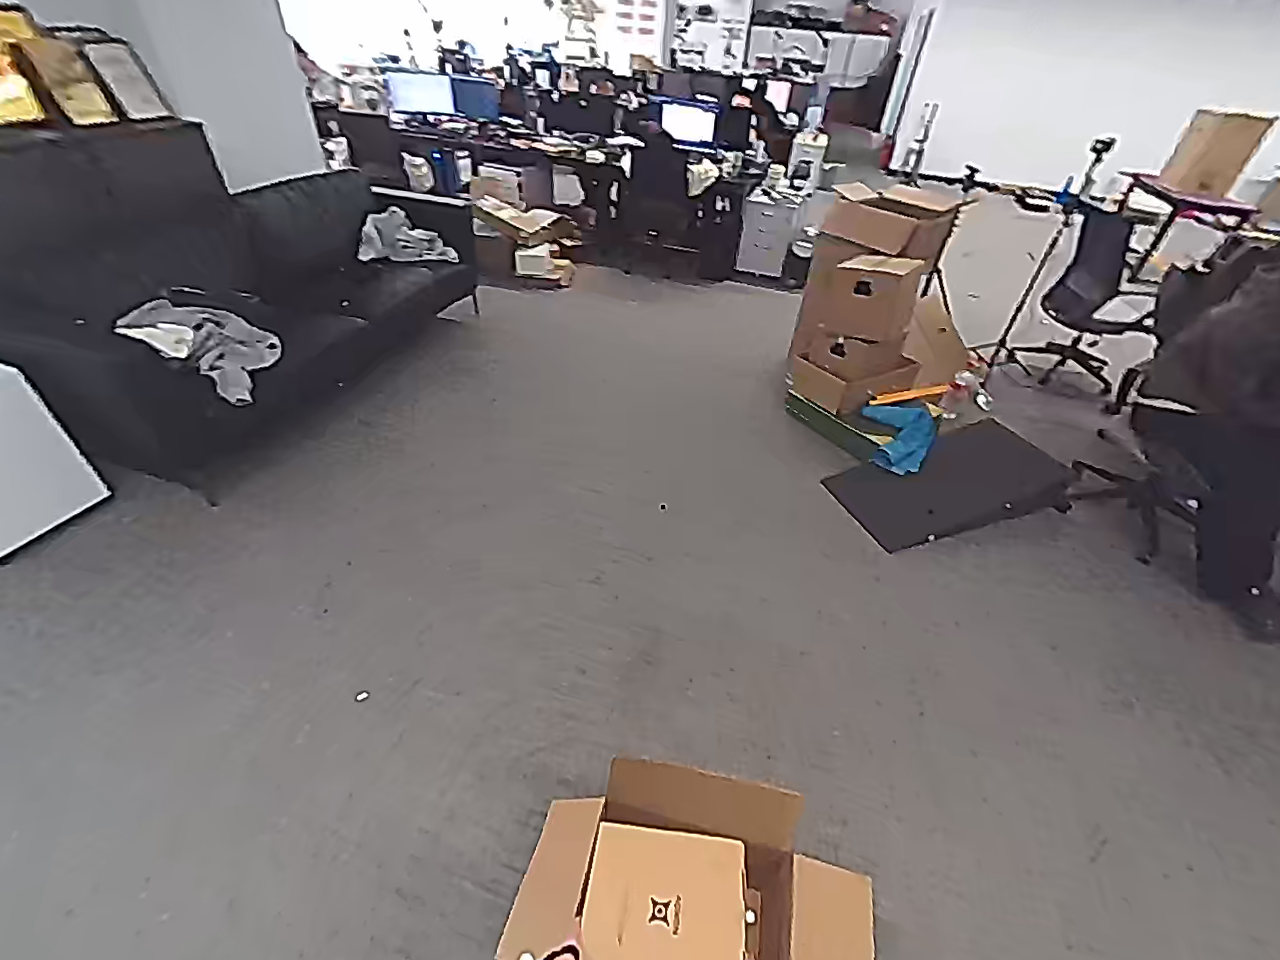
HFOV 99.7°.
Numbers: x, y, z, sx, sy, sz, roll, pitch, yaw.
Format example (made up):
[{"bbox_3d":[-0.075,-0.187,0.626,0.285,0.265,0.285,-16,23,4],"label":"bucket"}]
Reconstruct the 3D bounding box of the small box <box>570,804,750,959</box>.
[{"bbox_3d":[0.032,0.515,0.624,0.179,0.176,0.168,3,31,11],"label":"small box"}]
